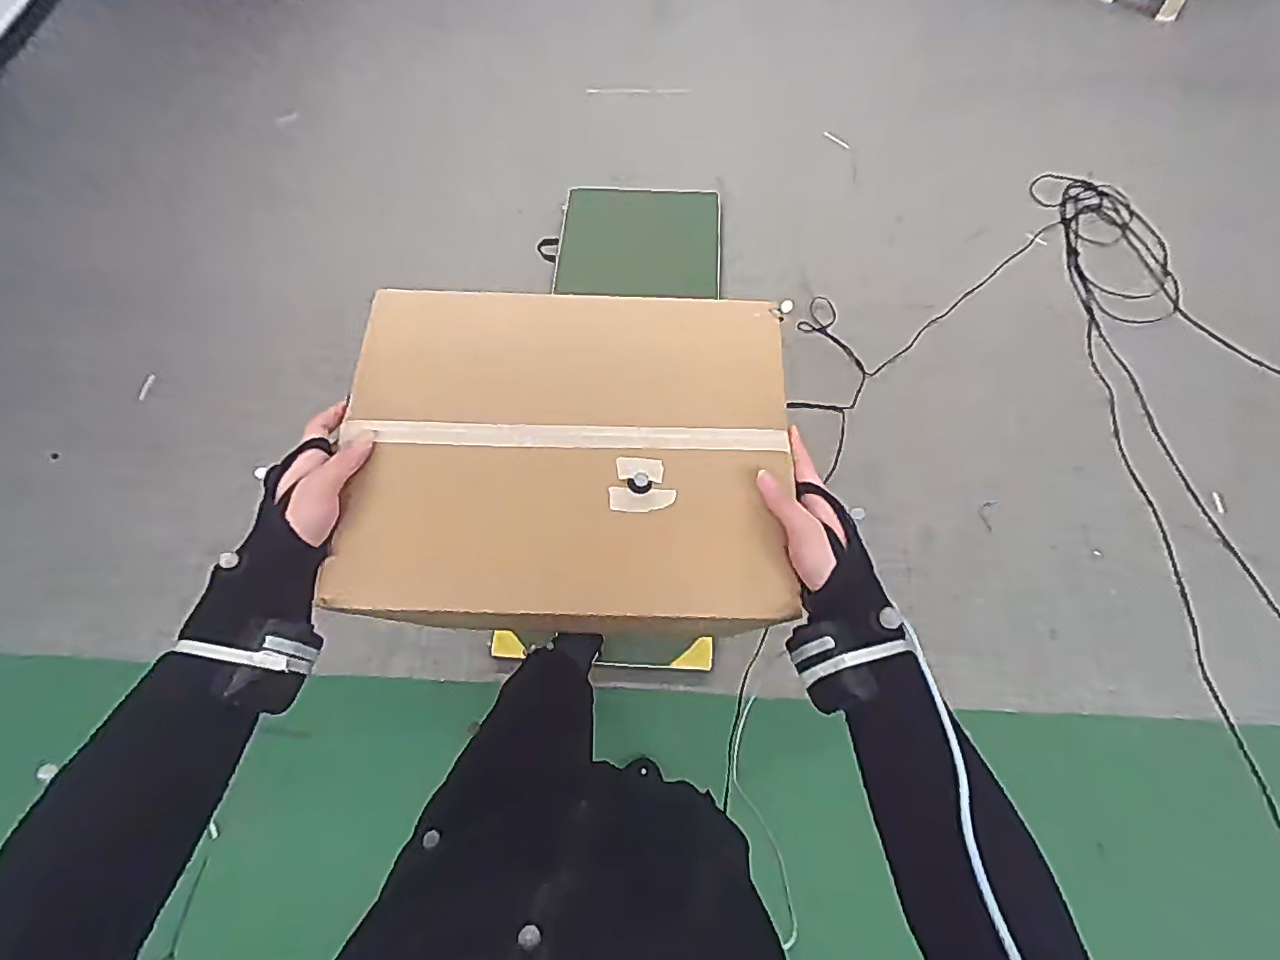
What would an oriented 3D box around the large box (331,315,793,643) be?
[{"bbox_3d":[-0.070,0.027,0.649,0.408,0.320,0.320,1,71,-1],"label":"large box"}]
